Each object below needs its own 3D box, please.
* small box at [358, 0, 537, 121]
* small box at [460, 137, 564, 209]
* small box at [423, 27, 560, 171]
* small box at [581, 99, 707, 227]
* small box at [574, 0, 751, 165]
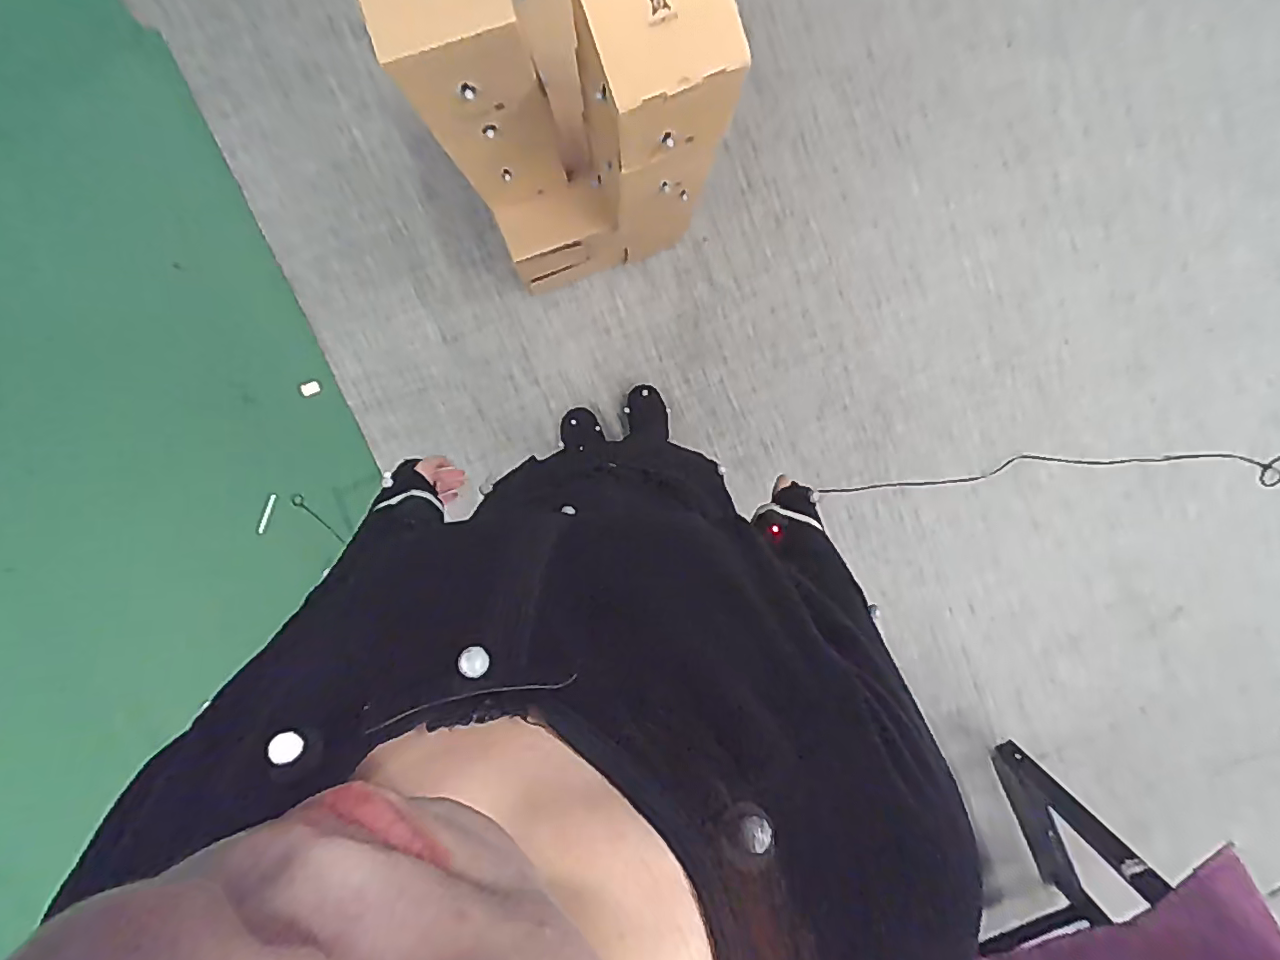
[{"bbox_3d":[-0.237,-0.581,0.669,0.168,0.176,0.179,-15,98,2],"label":"small box"},{"bbox_3d":[-0.252,-0.638,0.994,0.168,0.176,0.179,-20,97,3],"label":"small box"},{"bbox_3d":[-0.242,-0.612,0.829,0.179,0.176,0.168,-21,98,5],"label":"small box"},{"bbox_3d":[0.005,-0.601,1.002,0.179,0.176,0.168,-22,98,2],"label":"small box"},{"bbox_3d":[0.020,-0.543,0.681,0.168,0.176,0.179,-20,99,2],"label":"small box"}]
